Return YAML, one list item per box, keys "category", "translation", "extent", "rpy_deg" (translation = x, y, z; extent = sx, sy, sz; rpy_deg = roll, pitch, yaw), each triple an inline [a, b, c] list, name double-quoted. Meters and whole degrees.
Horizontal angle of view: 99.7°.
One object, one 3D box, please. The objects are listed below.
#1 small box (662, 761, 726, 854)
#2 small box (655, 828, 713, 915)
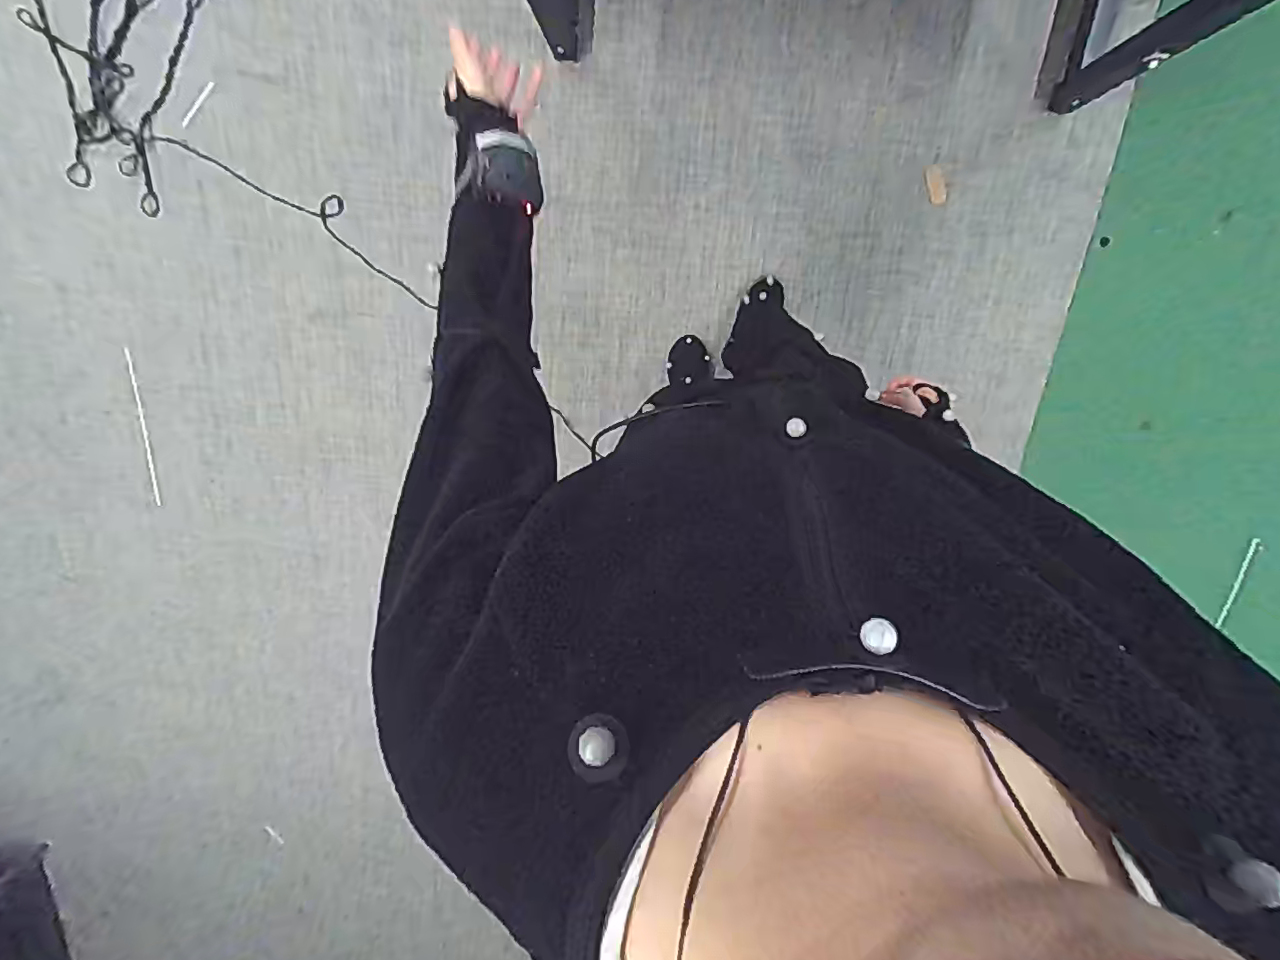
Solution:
- category: "small box"
  translation: [0.168, 1.032, 1.717]
  extent: [0.168, 0.176, 0.179]
  rpy_deg: [11, 107, 2]
- category: "small box"
  translation: [0.144, 1.285, 1.793]
  extent: [0.168, 0.176, 0.179]
  rpy_deg: [7, 107, 3]
